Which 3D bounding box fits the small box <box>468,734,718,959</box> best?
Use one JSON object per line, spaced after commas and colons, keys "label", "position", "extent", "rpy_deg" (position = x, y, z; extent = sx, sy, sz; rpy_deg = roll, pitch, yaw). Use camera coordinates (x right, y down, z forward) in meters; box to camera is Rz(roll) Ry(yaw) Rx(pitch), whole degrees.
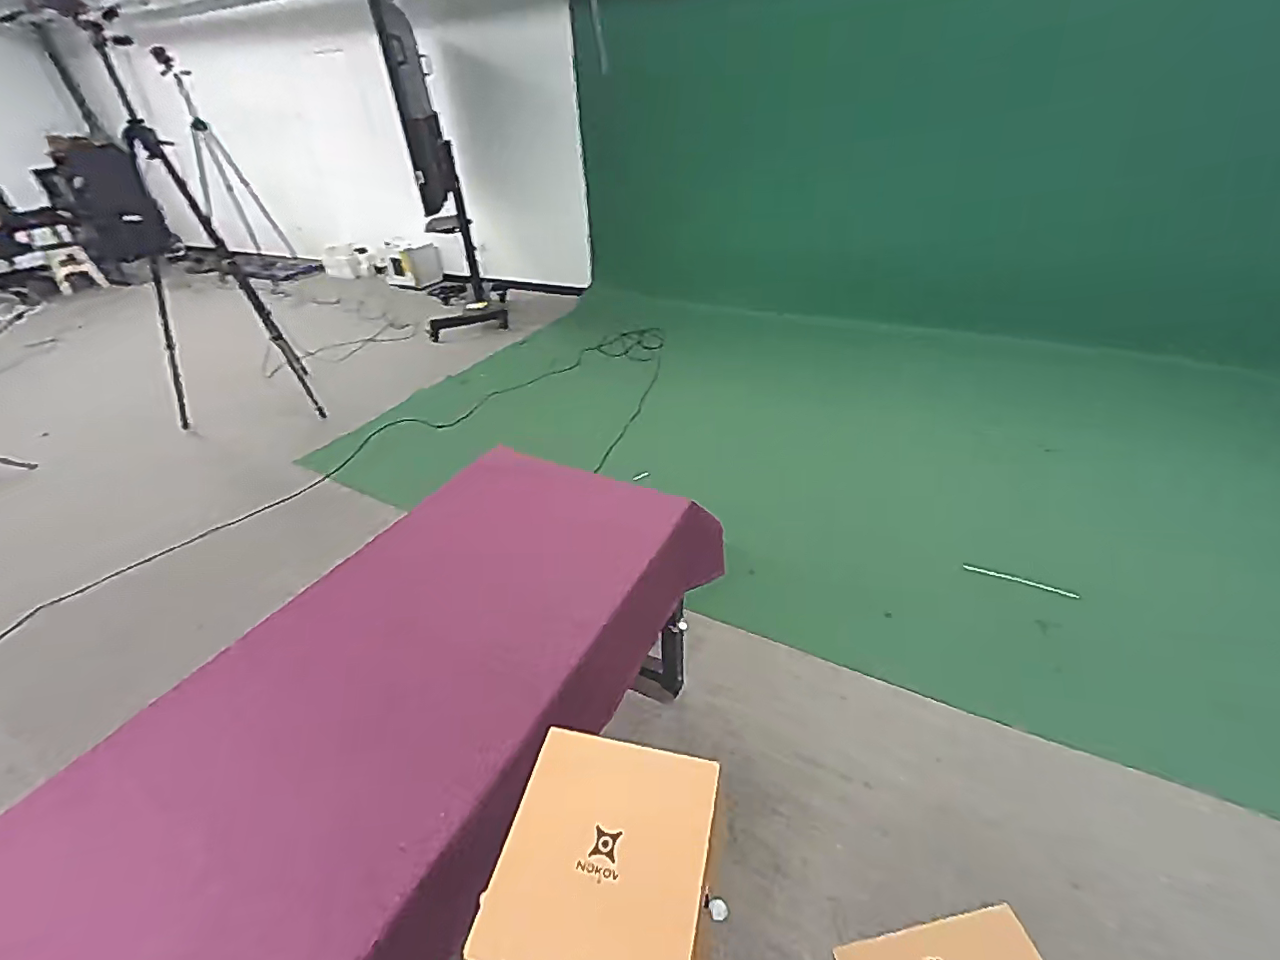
{"label": "small box", "position": [-0.022, 0.368, 0.491], "extent": [0.168, 0.176, 0.179], "rpy_deg": [4, 41, 16]}
